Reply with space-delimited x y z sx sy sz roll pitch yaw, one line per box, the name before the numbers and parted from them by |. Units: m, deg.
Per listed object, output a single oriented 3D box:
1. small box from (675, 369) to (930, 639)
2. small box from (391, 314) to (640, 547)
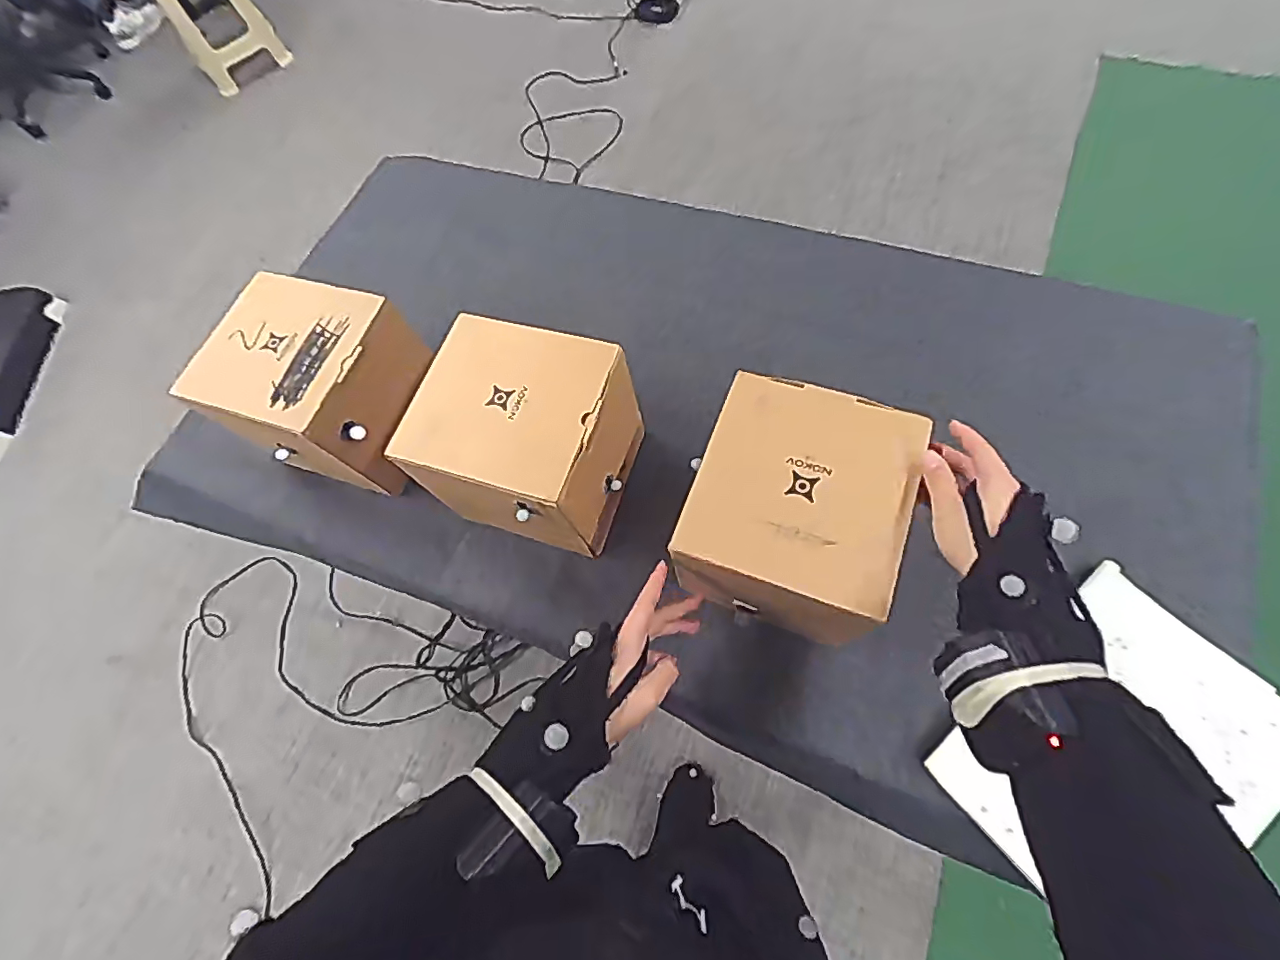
small box | 0.142 0.030 0.504 0.168 0.176 0.179 17 71 15
small box | -0.111 -0.043 0.569 0.179 0.176 0.168 15 69 13
